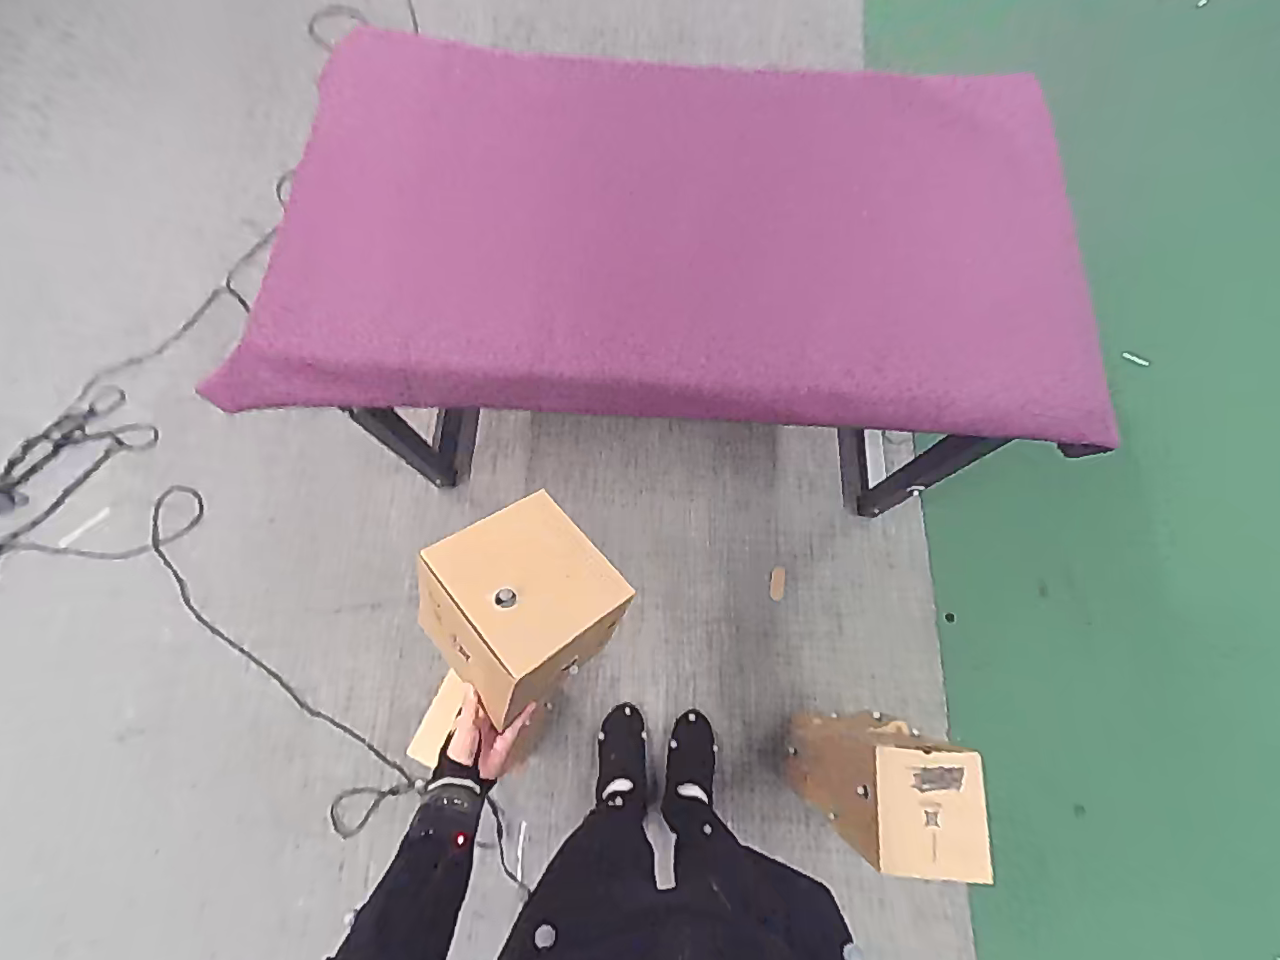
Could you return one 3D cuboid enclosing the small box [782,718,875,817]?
[{"bbox_3d":[0.424,0.635,1.192,0.179,0.176,0.168,13,73,4],"label":"small box"}]

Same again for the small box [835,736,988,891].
[{"bbox_3d":[0.428,0.527,0.882,0.168,0.176,0.179,5,73,0],"label":"small box"}]

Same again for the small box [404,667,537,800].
[{"bbox_3d":[-0.319,0.485,1.063,0.168,0.176,0.179,23,73,8],"label":"small box"}]

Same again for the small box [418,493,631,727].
[{"bbox_3d":[-0.137,0.147,0.636,0.176,0.168,0.179,-29,67,-37],"label":"small box"}]

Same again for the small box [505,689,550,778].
[{"bbox_3d":[-0.312,0.534,1.217,0.168,0.176,0.179,18,73,6],"label":"small box"}]
